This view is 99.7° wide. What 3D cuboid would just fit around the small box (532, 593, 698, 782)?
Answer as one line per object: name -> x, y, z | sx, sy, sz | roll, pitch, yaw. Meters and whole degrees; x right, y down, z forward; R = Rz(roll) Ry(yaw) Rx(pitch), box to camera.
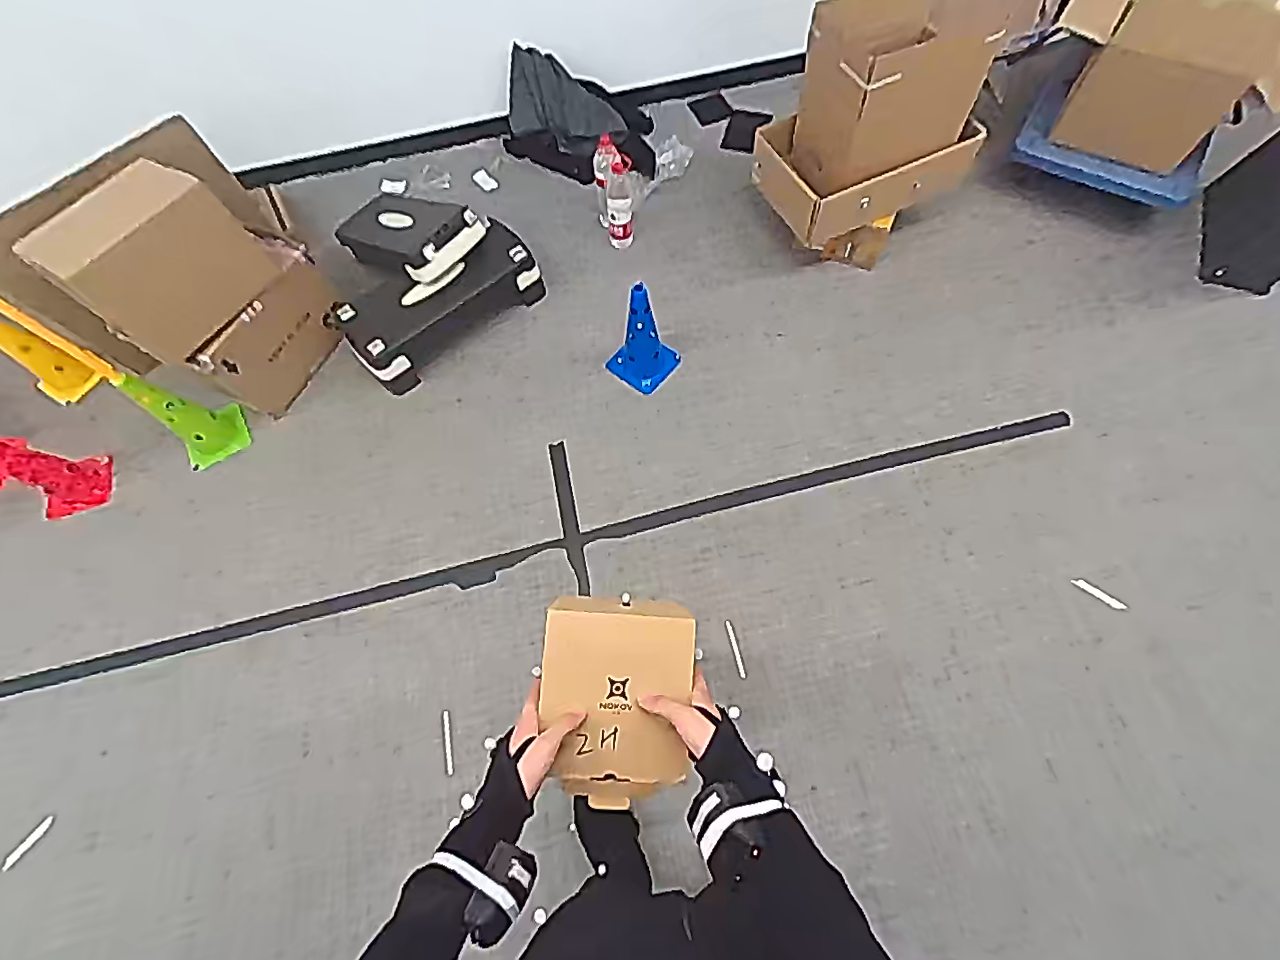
small box -> -0.030, 0.235, 0.657 | 0.168, 0.176, 0.179 | 5, 83, -2
